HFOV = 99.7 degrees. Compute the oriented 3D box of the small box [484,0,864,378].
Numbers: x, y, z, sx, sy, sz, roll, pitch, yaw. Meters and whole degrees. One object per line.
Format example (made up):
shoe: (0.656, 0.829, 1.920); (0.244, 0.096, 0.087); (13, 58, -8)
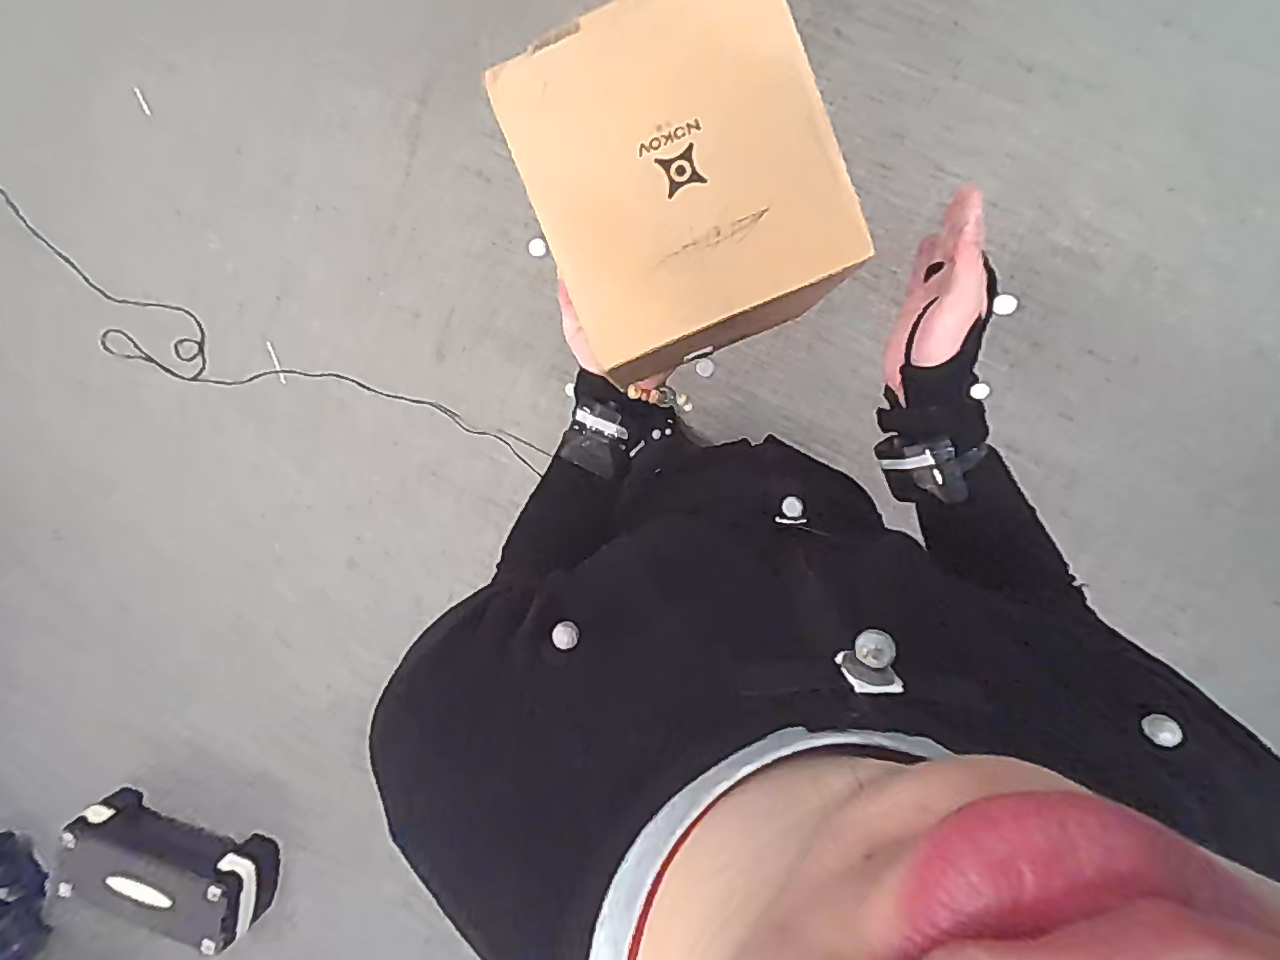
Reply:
small box: (0.021, -0.185, 0.377); (0.168, 0.176, 0.179); (-22, 95, 5)
